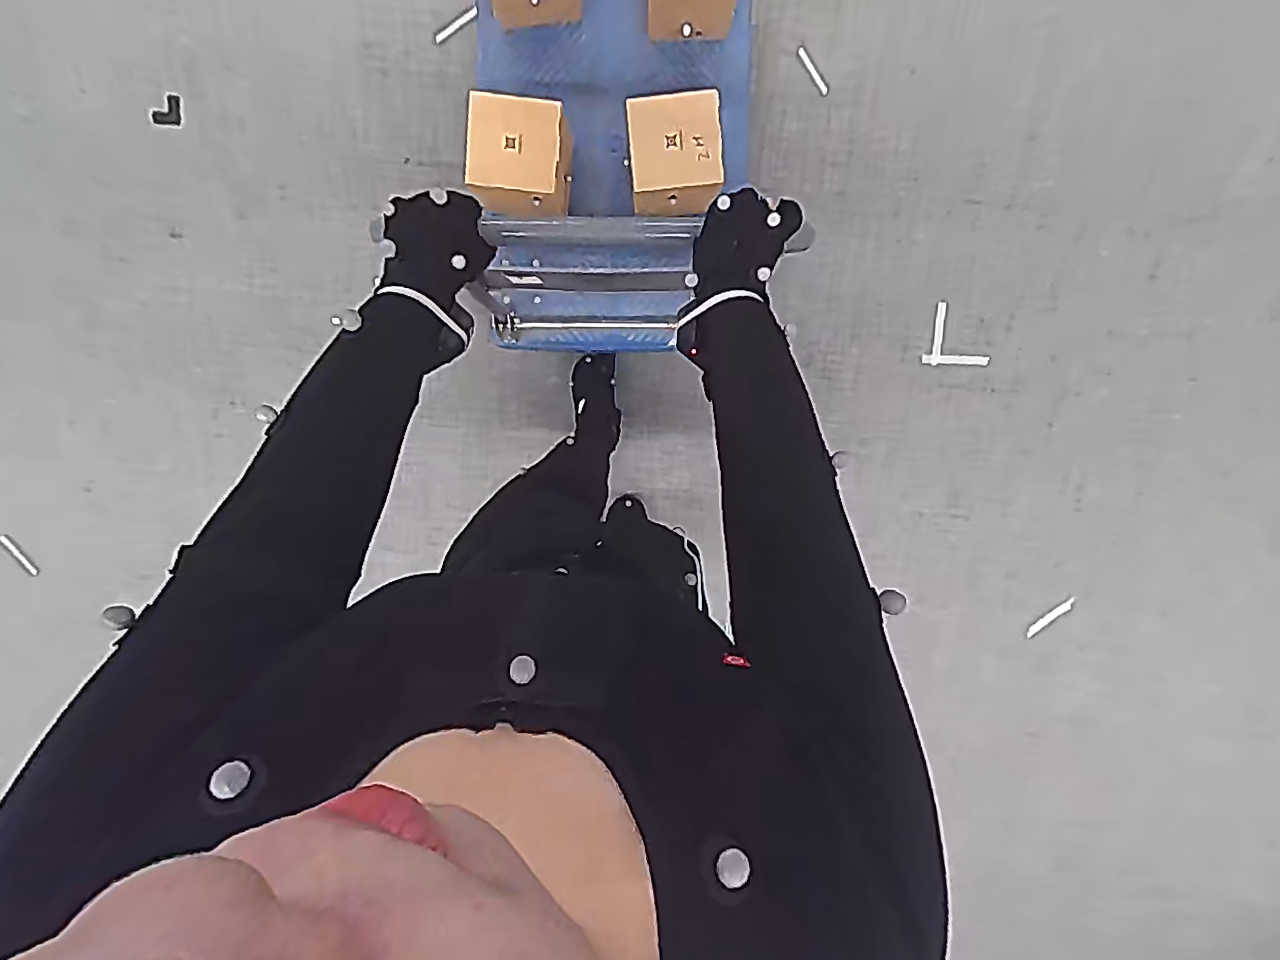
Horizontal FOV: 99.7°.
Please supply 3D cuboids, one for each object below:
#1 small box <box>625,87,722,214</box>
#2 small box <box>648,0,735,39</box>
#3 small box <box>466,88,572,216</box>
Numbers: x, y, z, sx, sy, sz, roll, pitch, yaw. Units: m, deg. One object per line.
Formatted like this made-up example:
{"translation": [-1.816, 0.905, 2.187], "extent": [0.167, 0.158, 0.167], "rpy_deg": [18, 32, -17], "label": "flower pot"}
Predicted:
{"translation": [0.067, -0.659, 1.103], "extent": [0.179, 0.176, 0.168], "rpy_deg": [-5, 99, 1], "label": "small box"}
{"translation": [0.101, -1.005, 1.045], "extent": [0.168, 0.176, 0.179], "rpy_deg": [0, 100, 0], "label": "small box"}
{"translation": [-0.240, -0.658, 1.105], "extent": [0.179, 0.176, 0.168], "rpy_deg": [5, 99, -2], "label": "small box"}
